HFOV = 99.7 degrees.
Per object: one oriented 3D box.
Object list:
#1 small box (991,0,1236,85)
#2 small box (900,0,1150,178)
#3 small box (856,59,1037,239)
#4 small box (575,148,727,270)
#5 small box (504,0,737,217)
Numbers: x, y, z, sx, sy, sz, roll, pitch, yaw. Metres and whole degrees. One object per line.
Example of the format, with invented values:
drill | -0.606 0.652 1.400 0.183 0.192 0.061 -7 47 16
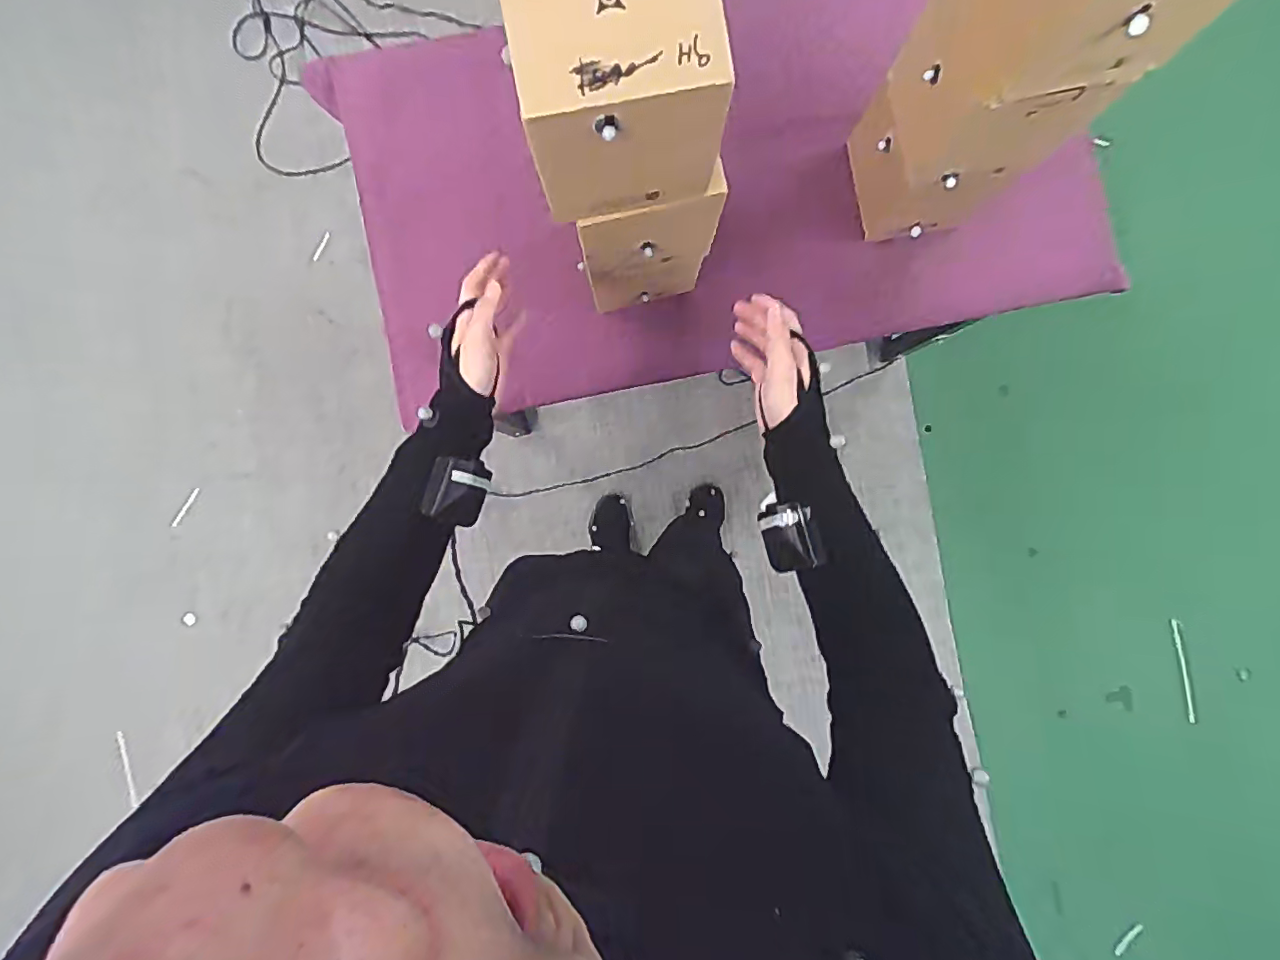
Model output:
small box | 0.443 -0.495 0.479 0.168 0.176 0.179 -12 88 2
small box | 0.436 -0.489 0.641 0.168 0.176 0.179 -10 88 2
small box | 0.440 -0.491 0.805 0.168 0.176 0.179 -9 89 2
small box | -0.004 -0.369 0.643 0.168 0.176 0.179 -13 90 0
small box | -0.022 -0.369 0.479 0.168 0.176 0.179 -10 90 1
